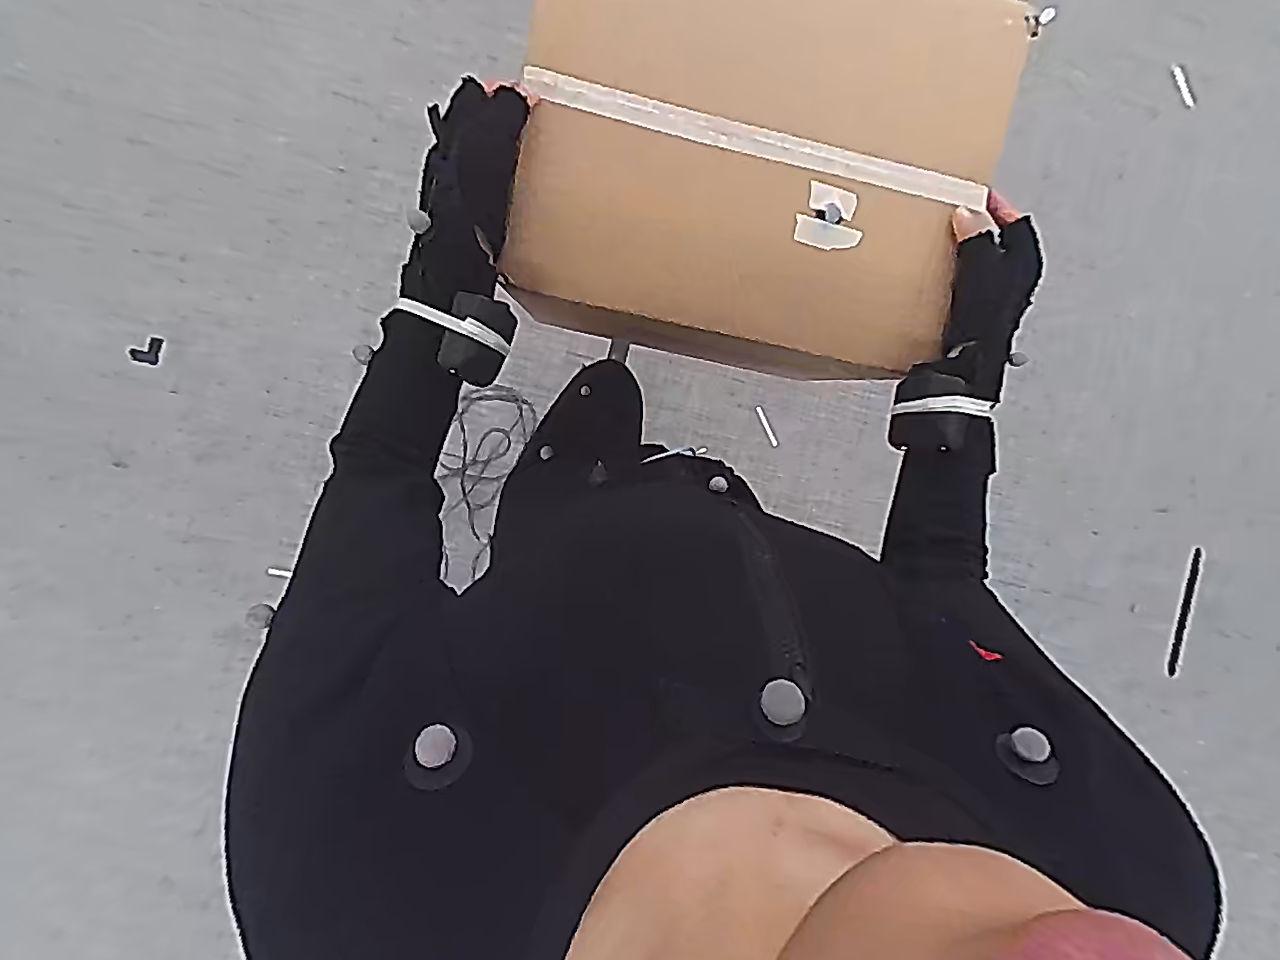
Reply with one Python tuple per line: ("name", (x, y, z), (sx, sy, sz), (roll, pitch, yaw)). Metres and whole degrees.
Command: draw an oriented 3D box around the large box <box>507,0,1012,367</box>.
("large box", (0.088, -0.320, 0.614), (0.408, 0.320, 0.320), (10, 100, -7))
